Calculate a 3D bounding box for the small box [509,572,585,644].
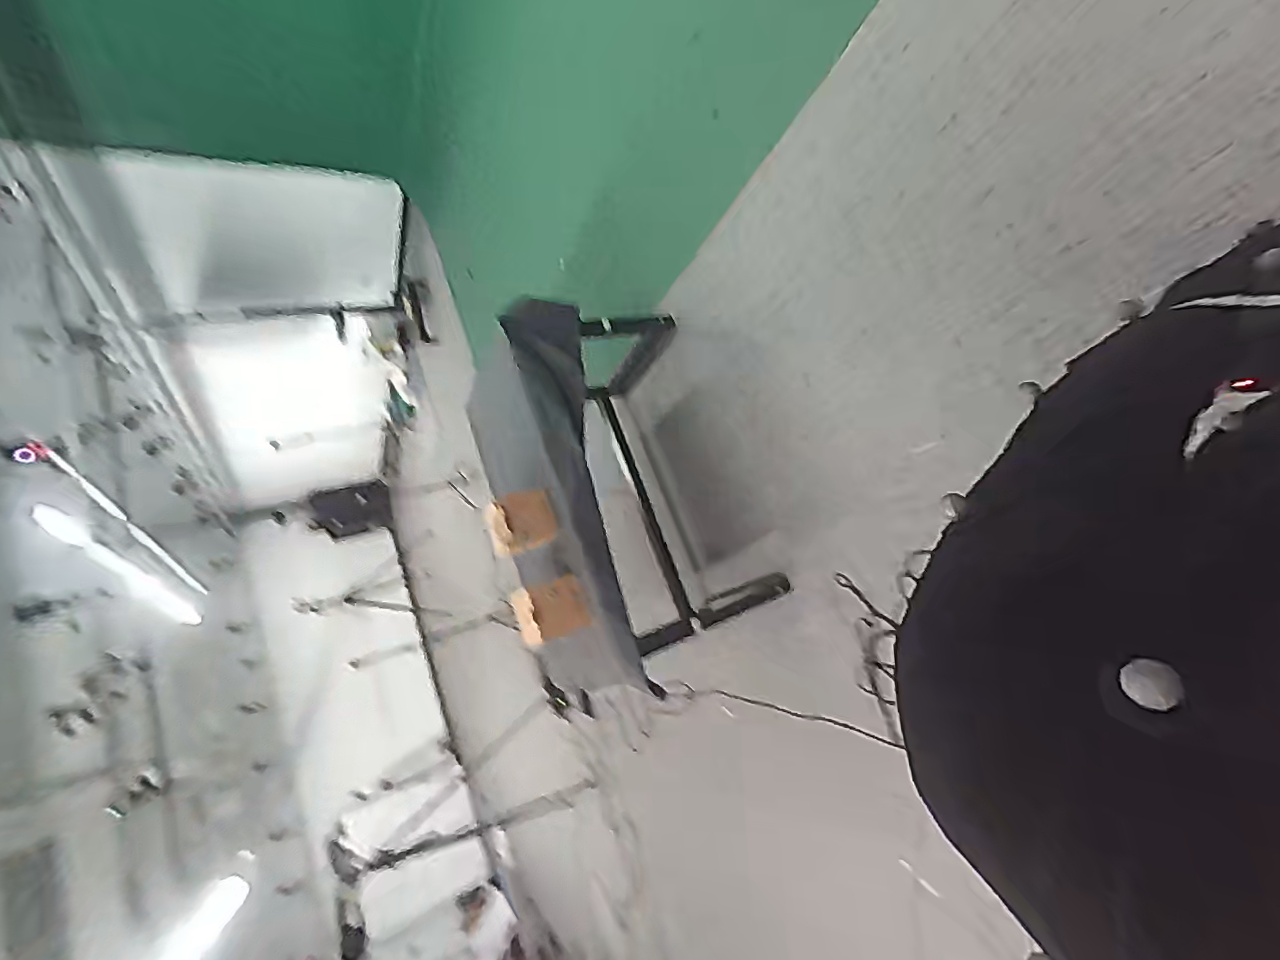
[{"bbox_3d":[-0.284,0.395,1.669,0.179,0.176,0.168,-36,70,58],"label":"small box"}]
